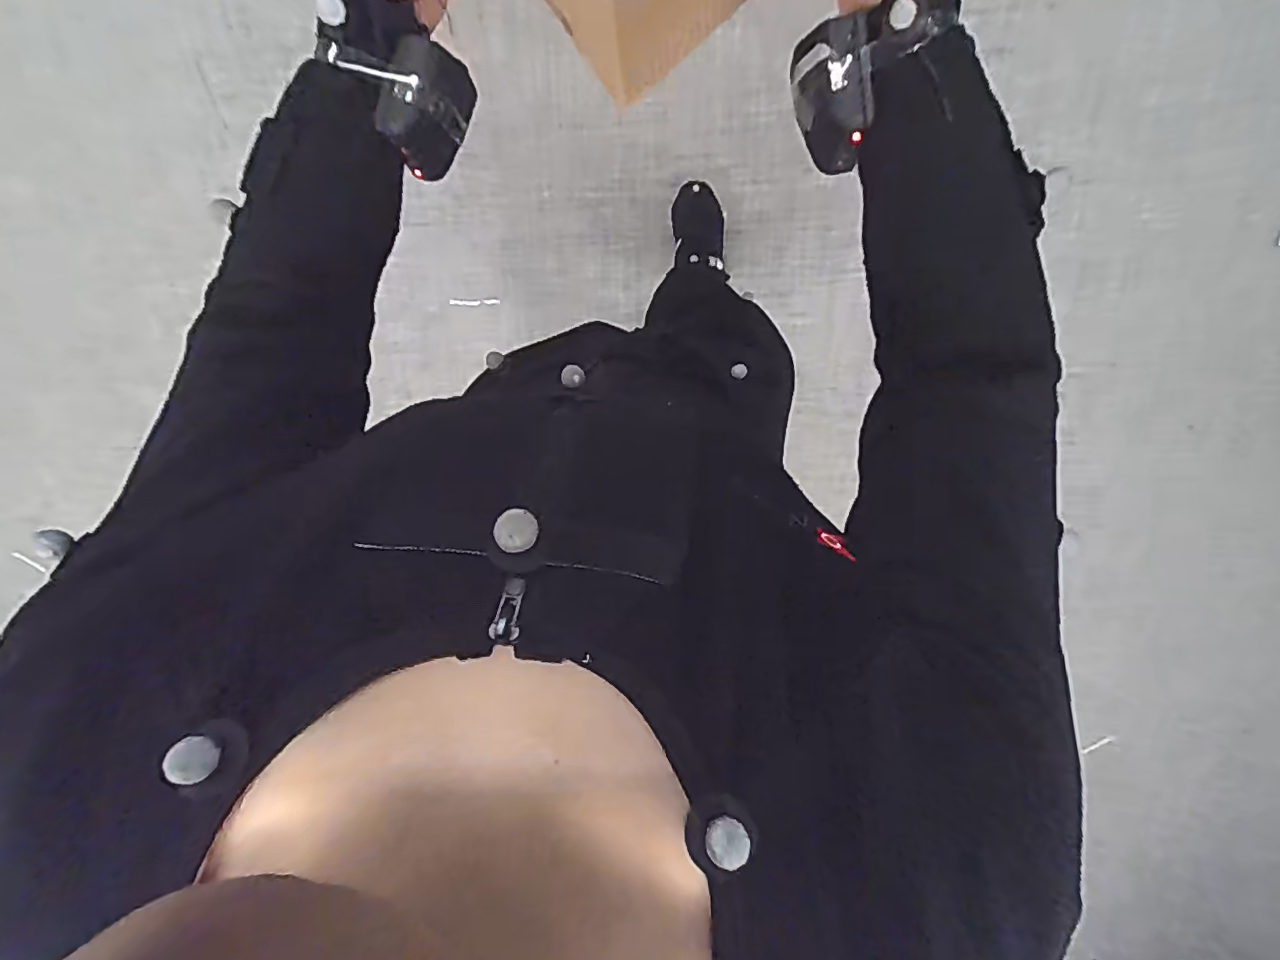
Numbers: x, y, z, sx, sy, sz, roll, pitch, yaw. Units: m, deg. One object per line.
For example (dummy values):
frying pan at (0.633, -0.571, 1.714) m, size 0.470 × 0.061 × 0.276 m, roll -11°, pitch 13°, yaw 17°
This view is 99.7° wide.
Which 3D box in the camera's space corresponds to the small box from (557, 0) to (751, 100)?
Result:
small box at (0.006, -0.356, 0.285) m, size 0.179 × 0.176 × 0.168 m, roll -38°, pitch 101°, yaw 11°
